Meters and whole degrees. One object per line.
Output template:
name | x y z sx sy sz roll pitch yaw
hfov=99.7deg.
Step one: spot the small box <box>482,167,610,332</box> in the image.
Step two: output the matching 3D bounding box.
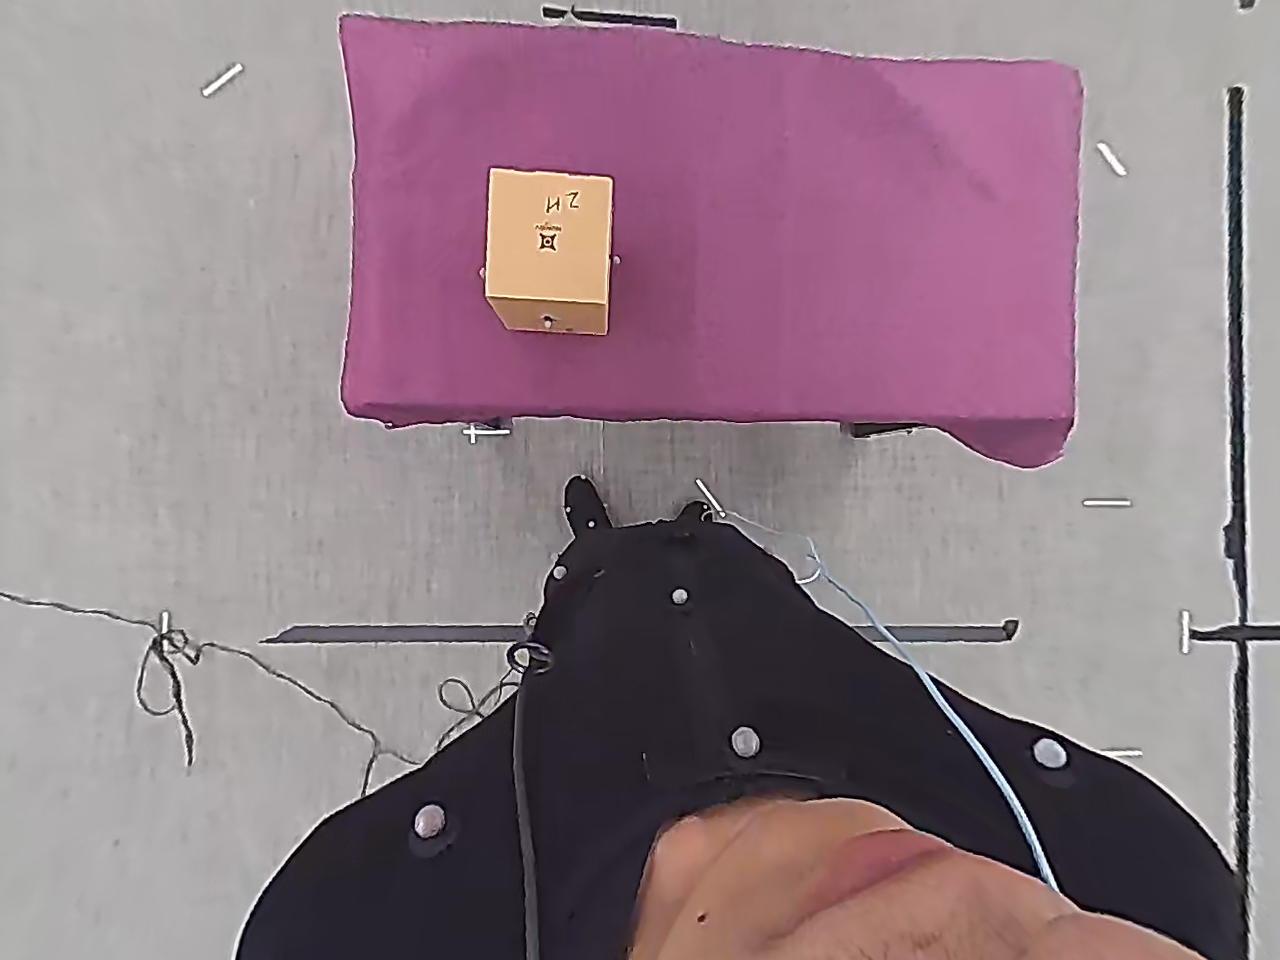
small box | -0.131 -0.328 0.805 0.168 0.176 0.179 3 90 -4
